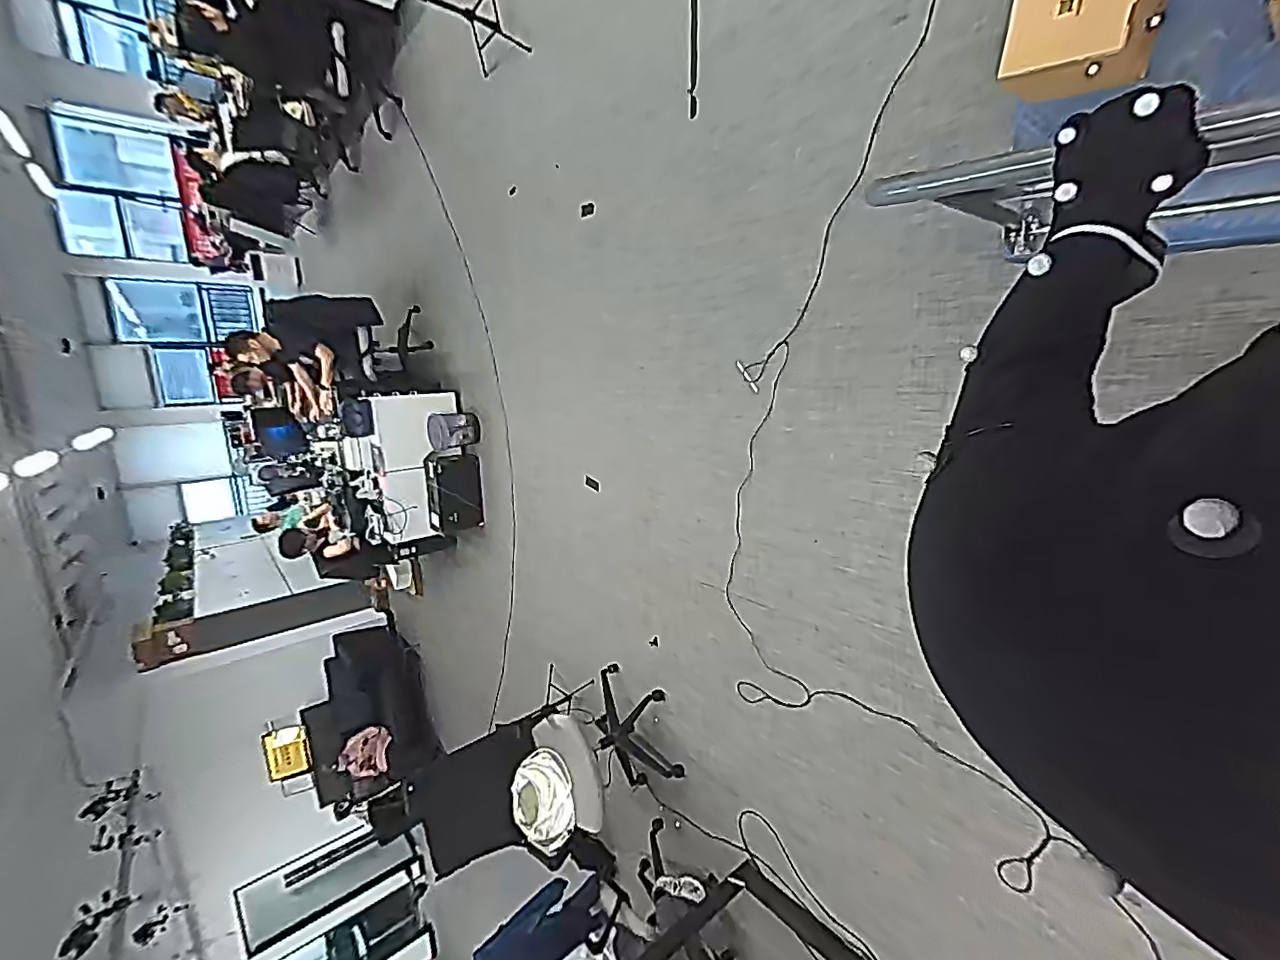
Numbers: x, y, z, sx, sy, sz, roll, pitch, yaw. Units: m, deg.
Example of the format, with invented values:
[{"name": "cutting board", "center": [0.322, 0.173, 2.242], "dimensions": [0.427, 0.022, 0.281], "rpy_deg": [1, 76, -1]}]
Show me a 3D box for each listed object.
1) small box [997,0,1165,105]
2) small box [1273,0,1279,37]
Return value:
[{"name": "small box", "center": [0.752, -0.771, 0.920], "dimensions": [0.179, 0.176, 0.168], "rpy_deg": [21, 114, 45]}, {"name": "small box", "center": [0.950, -0.718, 0.689], "dimensions": [0.179, 0.176, 0.168], "rpy_deg": [10, 107, 49]}]
